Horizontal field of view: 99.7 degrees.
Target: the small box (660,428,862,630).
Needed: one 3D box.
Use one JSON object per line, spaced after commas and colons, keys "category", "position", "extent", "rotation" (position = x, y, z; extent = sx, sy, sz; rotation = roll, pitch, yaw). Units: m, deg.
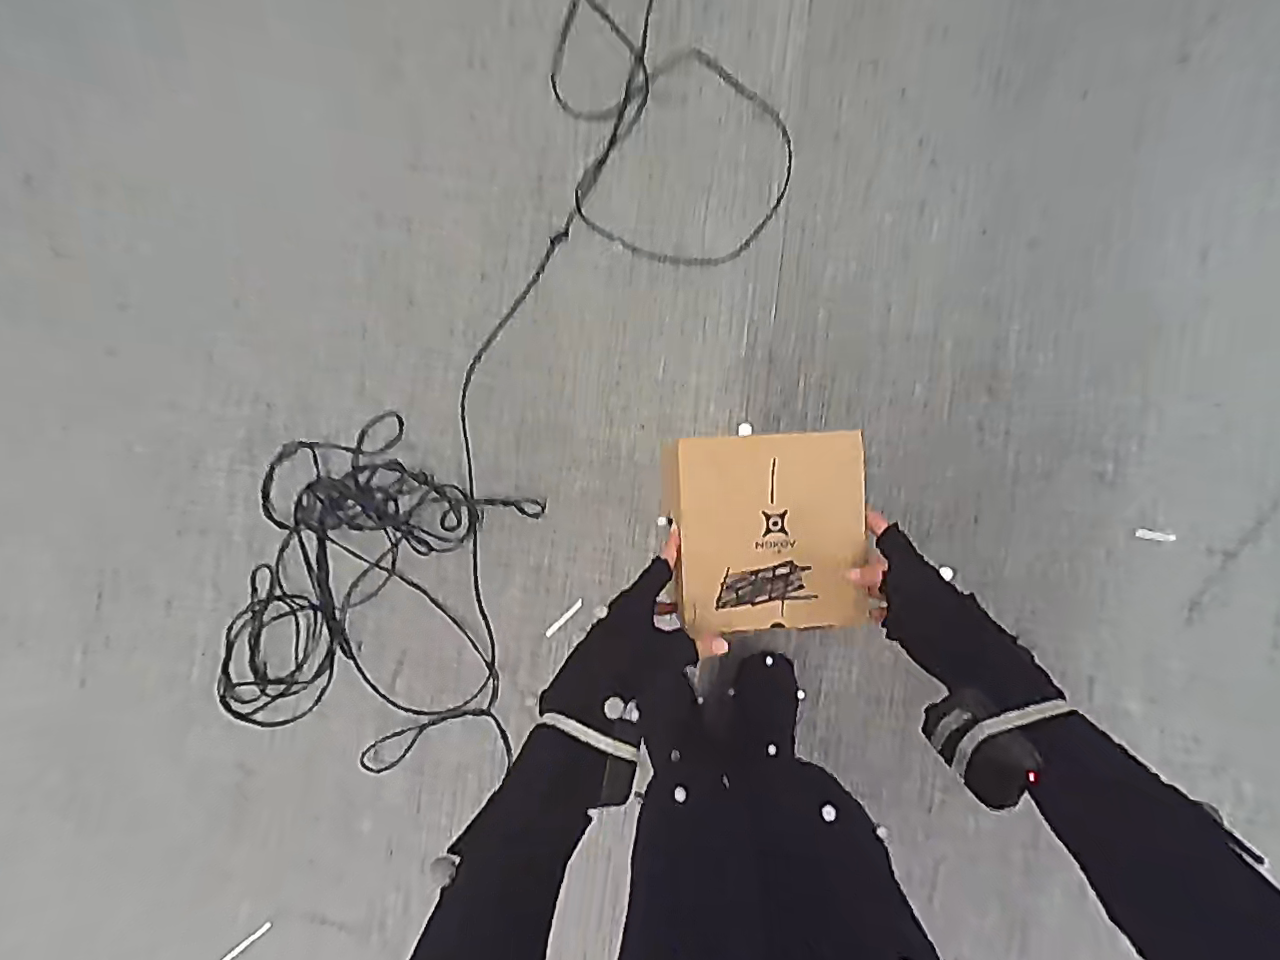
{"category": "small box", "position": [0.110, 0.040, 0.552], "extent": [0.168, 0.176, 0.179], "rotation": [-2, 91, -3]}
